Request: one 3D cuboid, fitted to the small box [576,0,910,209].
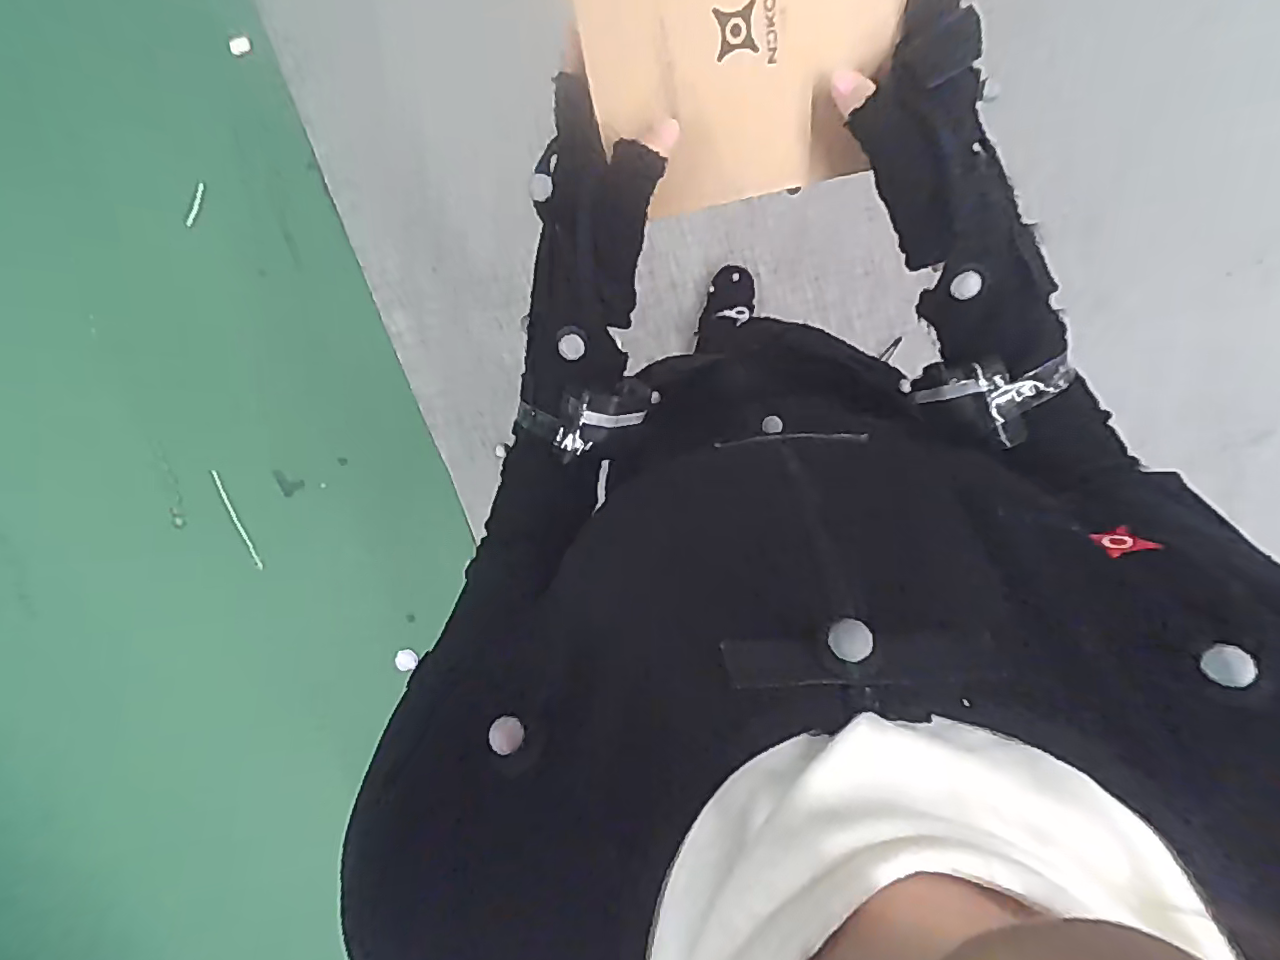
[{"bbox_3d":[0.053,-0.295,0.353,0.179,0.176,0.168,-11,123,6],"label":"small box"}]
